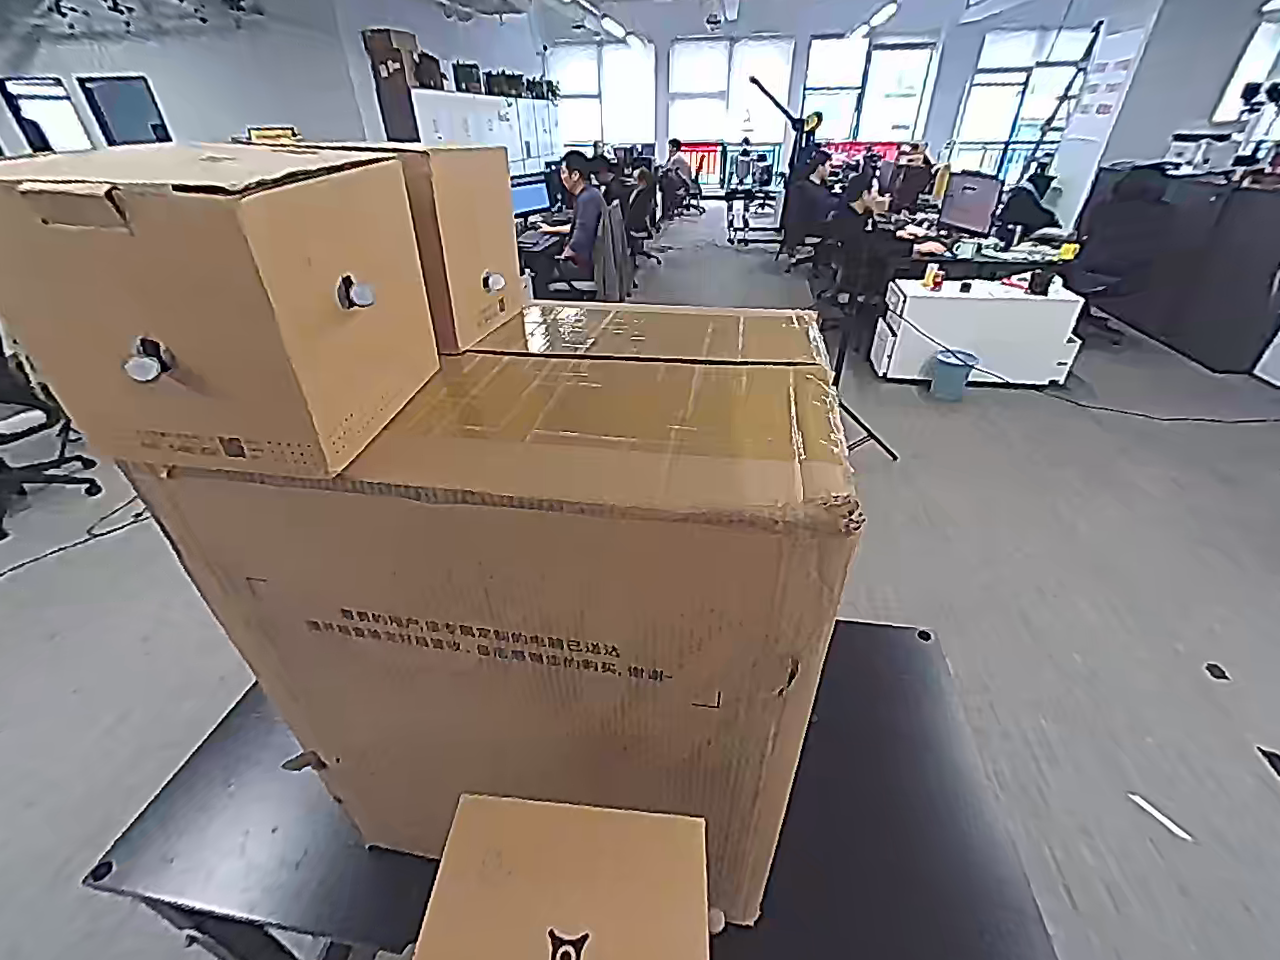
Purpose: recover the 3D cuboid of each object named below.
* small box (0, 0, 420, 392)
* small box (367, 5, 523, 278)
[{"bbox_3d":[-0.241,-0.160,0.291,0.168,0.176,0.179,5,38,2],"label":"small box"},{"bbox_3d":[-0.215,-0.275,0.461,0.179,0.176,0.168,6,33,8],"label":"small box"}]
